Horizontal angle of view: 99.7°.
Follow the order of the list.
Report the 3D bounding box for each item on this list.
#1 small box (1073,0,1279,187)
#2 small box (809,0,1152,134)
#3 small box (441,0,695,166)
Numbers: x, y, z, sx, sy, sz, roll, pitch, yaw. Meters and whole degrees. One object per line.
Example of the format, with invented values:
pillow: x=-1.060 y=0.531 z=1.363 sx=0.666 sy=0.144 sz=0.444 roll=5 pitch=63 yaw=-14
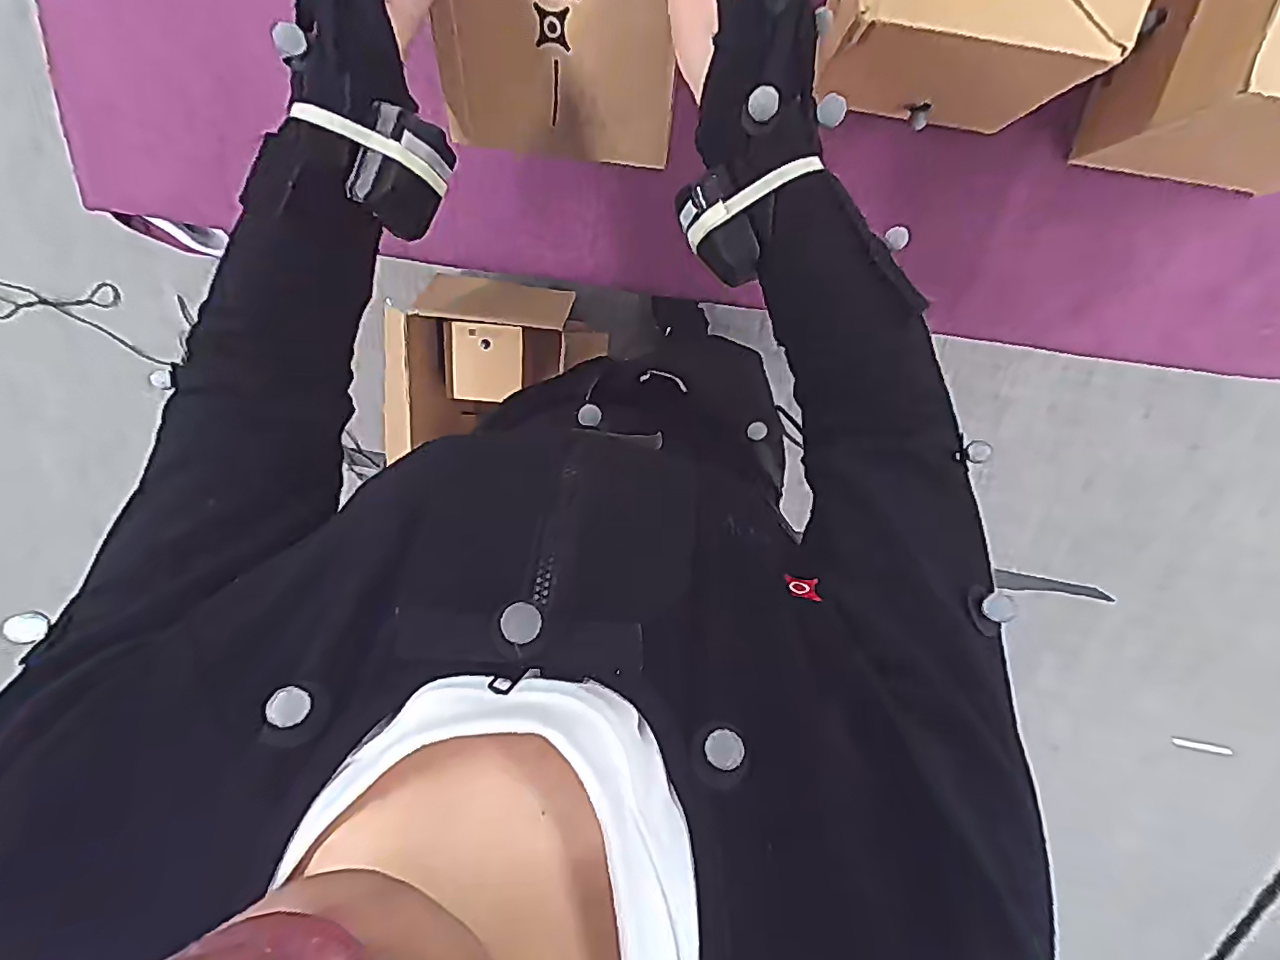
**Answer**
small box: x=0.486 y=-0.331 z=0.395 sx=0.179 sy=0.176 sz=0.168 roll=11 pitch=107 yaw=1
small box: x=0.247 y=-0.387 z=0.399 sx=0.179 sy=0.176 sz=0.168 roll=11 pitch=108 yaw=2
small box: x=-0.042 y=-0.367 z=0.397 sx=0.168 sy=0.176 sz=0.179 roll=7 pitch=142 yaw=-1
